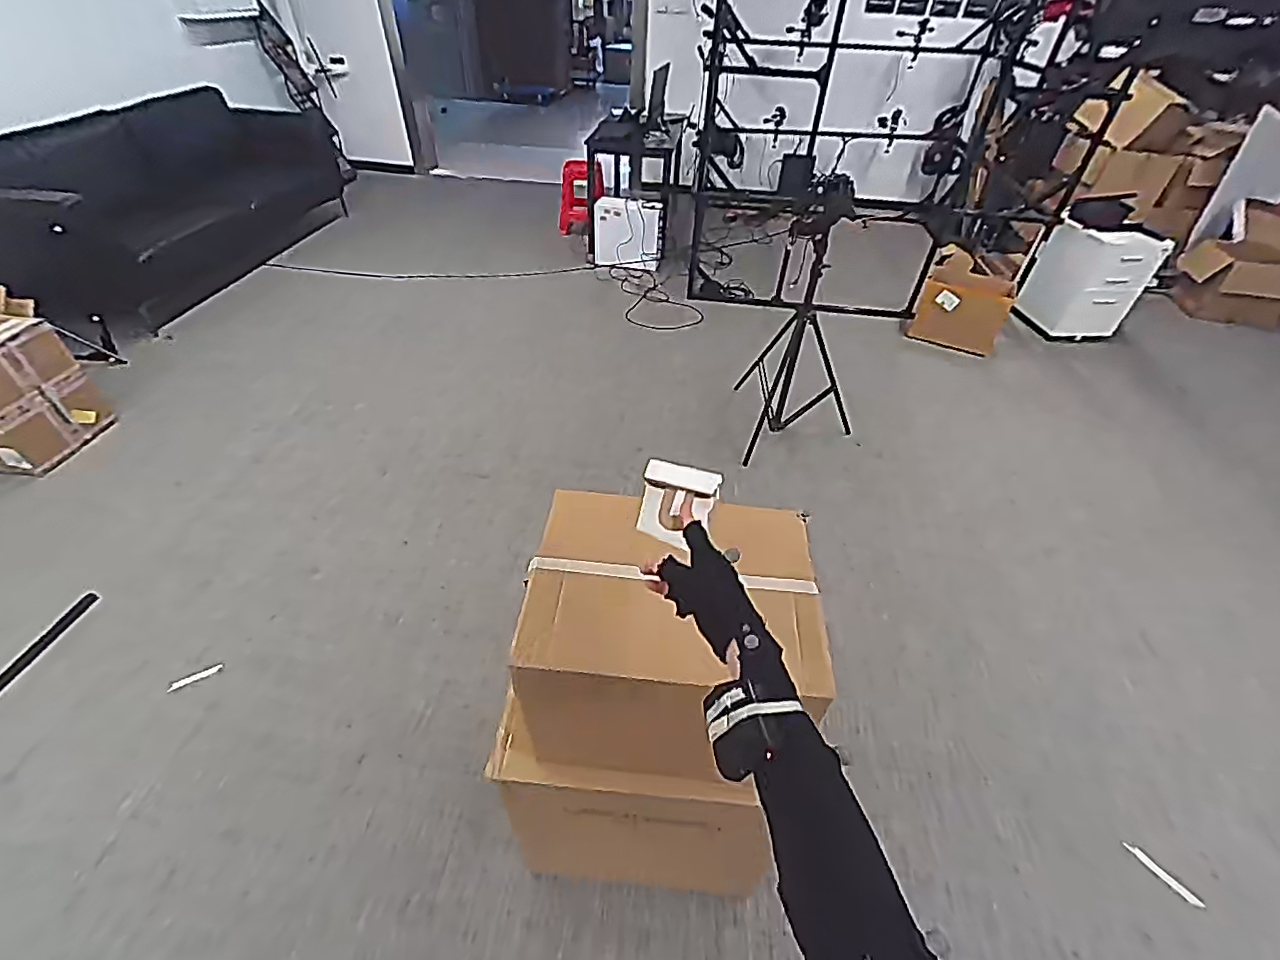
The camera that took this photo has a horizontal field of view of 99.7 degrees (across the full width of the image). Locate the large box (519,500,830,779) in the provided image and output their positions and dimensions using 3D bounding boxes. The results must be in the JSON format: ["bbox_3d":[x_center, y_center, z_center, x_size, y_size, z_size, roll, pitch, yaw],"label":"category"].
[{"bbox_3d":[0.044,0.260,0.888,0.408,0.320,0.320,5,43,2],"label":"large box"}]
